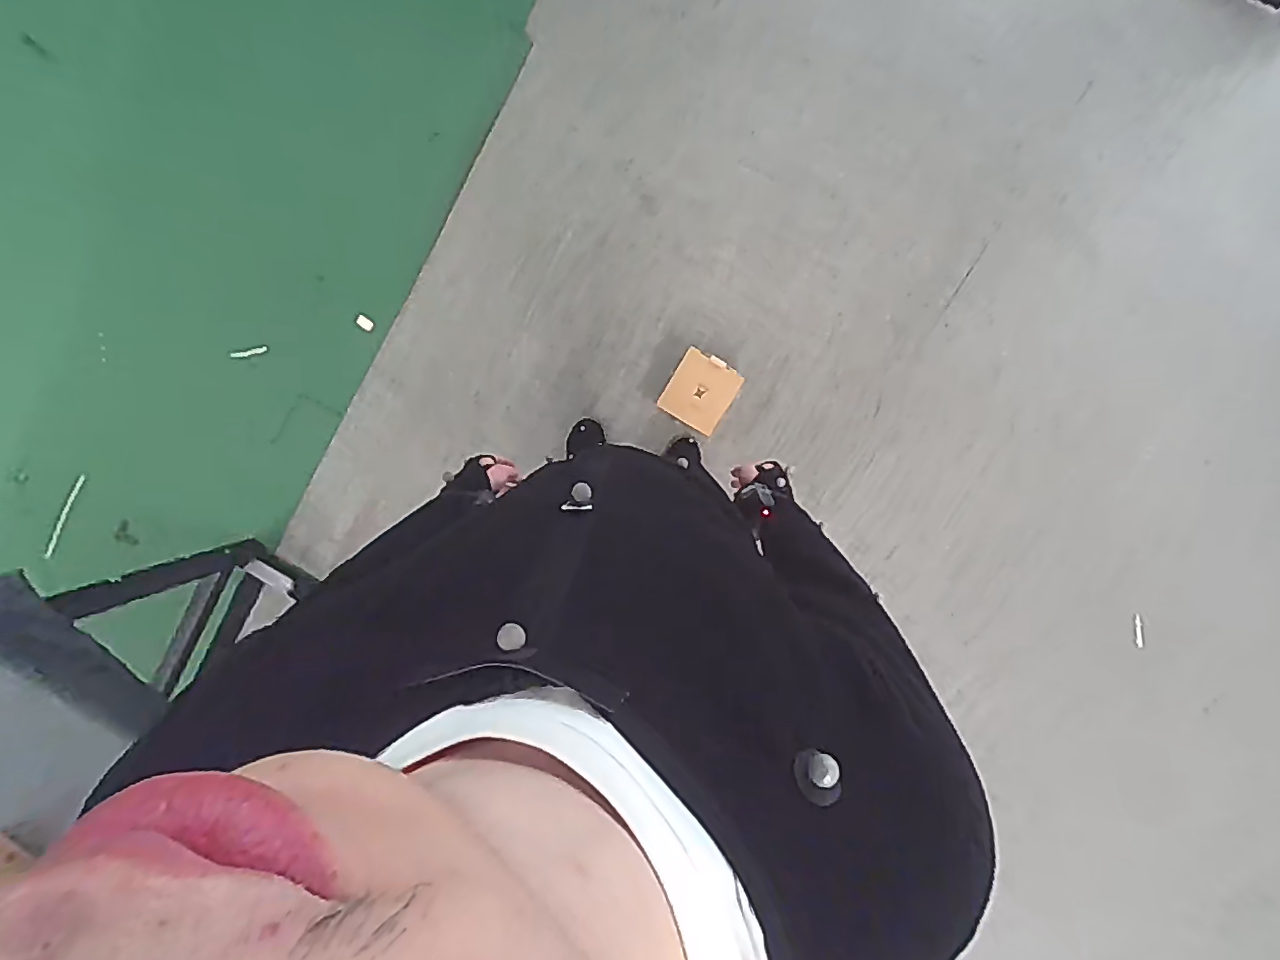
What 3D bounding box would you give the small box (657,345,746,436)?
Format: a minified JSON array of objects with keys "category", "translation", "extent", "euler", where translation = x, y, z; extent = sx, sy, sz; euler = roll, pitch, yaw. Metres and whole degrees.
[{"category":"small box","translation":[0.161,-0.235,1.445],"extent":[0.168,0.176,0.179],"euler":[33,98,2]}]
